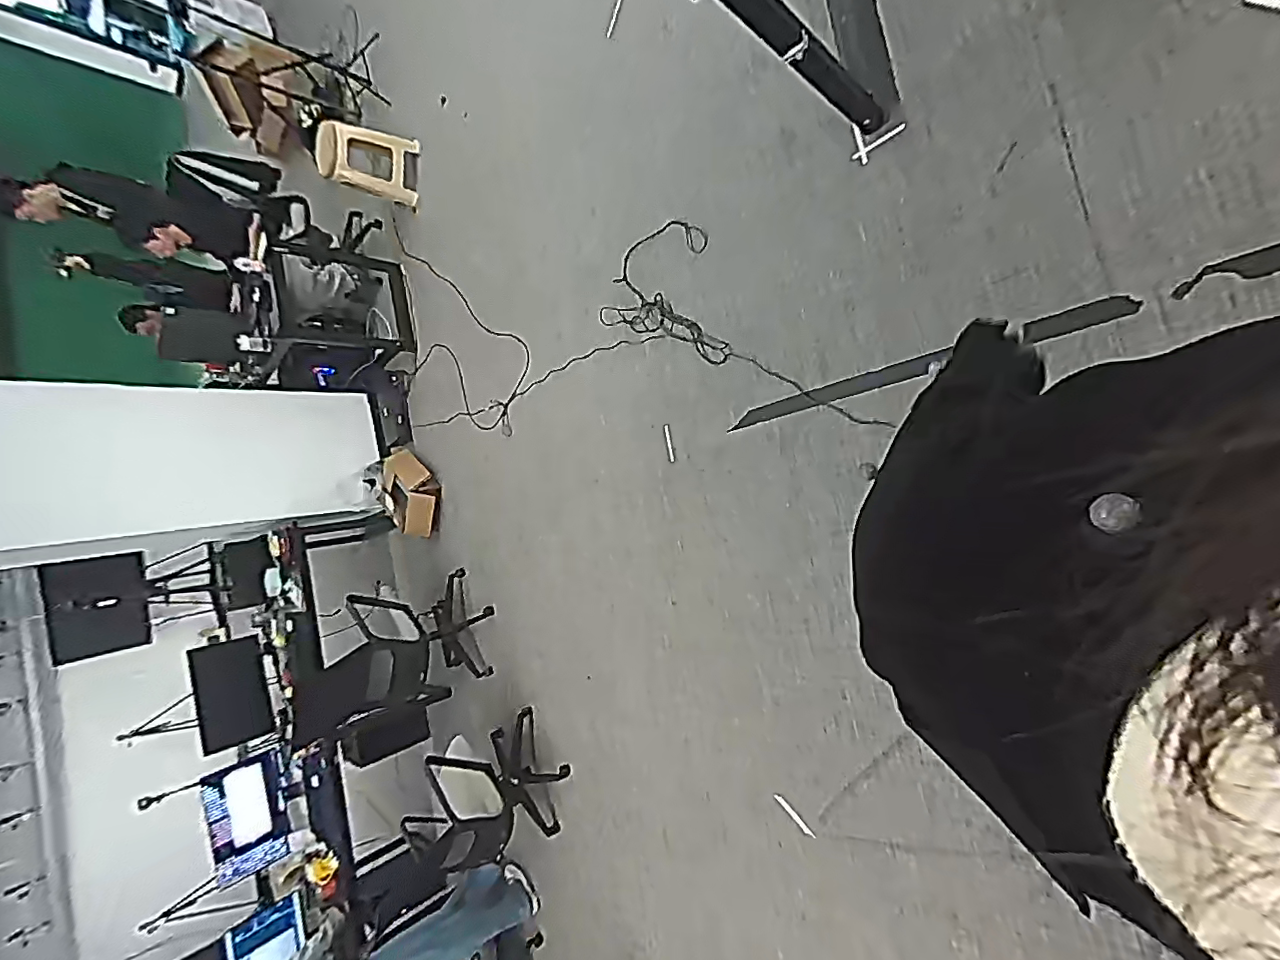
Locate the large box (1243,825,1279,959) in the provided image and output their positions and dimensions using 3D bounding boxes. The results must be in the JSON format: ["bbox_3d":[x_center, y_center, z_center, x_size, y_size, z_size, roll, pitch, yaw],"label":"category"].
[{"bbox_3d":[1.100,0.699,0.669,0.408,0.320,0.320,-16,84,43],"label":"large box"}]
